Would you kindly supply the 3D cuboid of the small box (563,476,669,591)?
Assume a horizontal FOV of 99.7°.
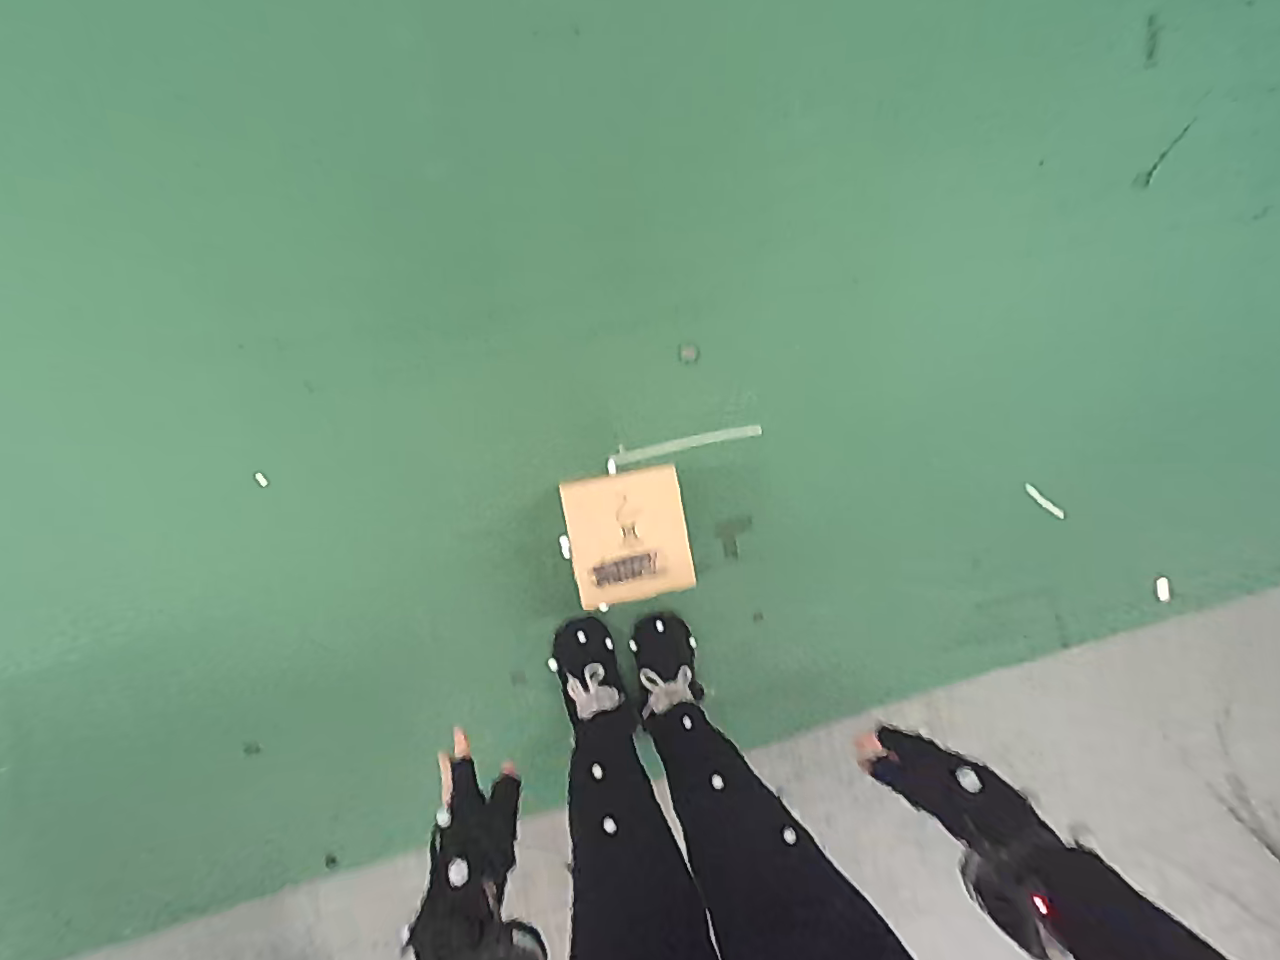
[{"bbox_3d":[-0.049,0.090,1.004,0.168,0.176,0.179,-9,92,-7],"label":"small box"}]
